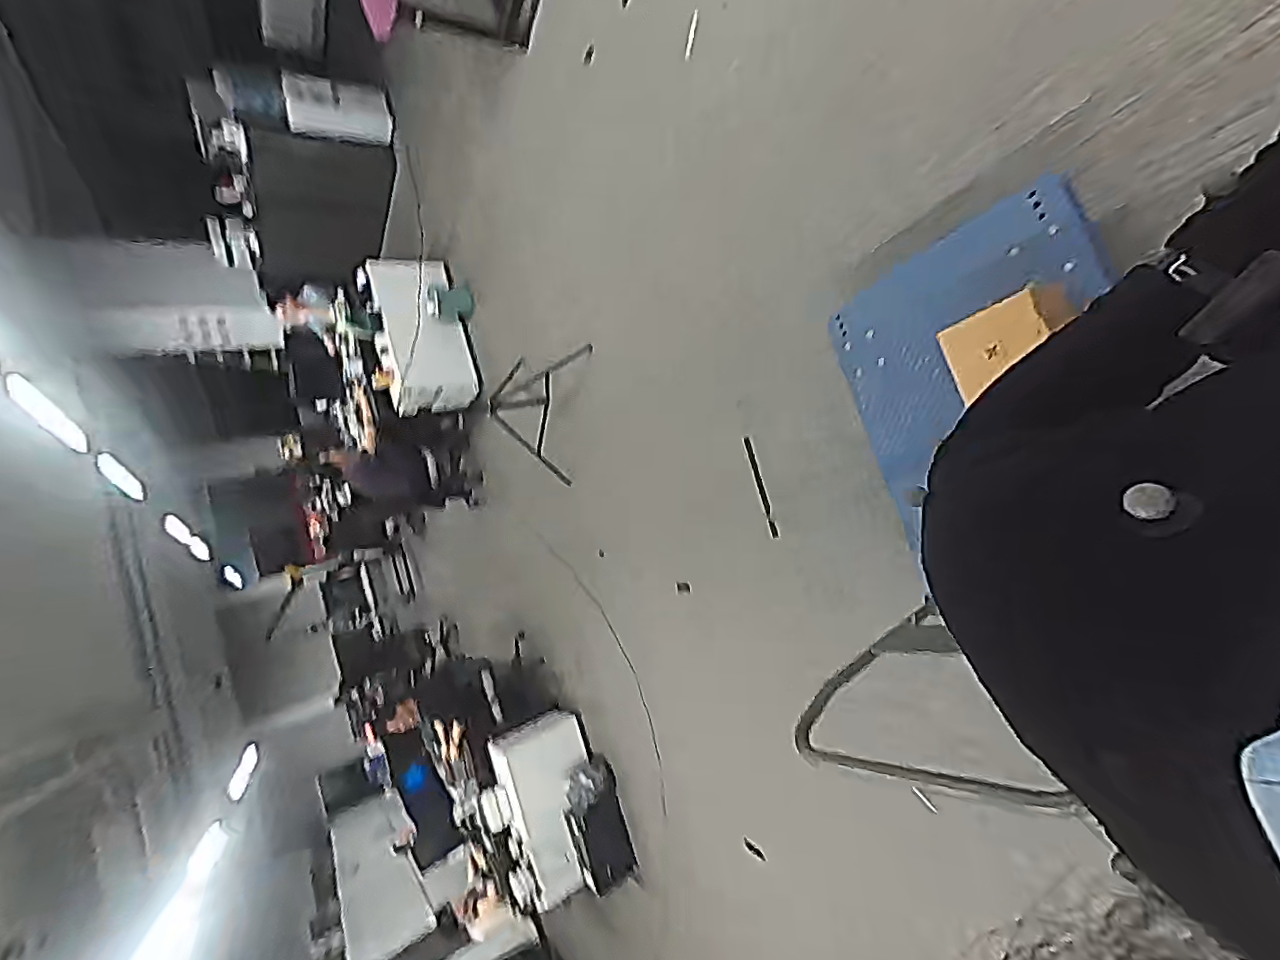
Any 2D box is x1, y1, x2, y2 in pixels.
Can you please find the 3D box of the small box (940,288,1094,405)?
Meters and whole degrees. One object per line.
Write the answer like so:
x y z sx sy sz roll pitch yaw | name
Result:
0.750 -0.264 1.079 0.179 0.176 0.168 -29 78 55 | small box
